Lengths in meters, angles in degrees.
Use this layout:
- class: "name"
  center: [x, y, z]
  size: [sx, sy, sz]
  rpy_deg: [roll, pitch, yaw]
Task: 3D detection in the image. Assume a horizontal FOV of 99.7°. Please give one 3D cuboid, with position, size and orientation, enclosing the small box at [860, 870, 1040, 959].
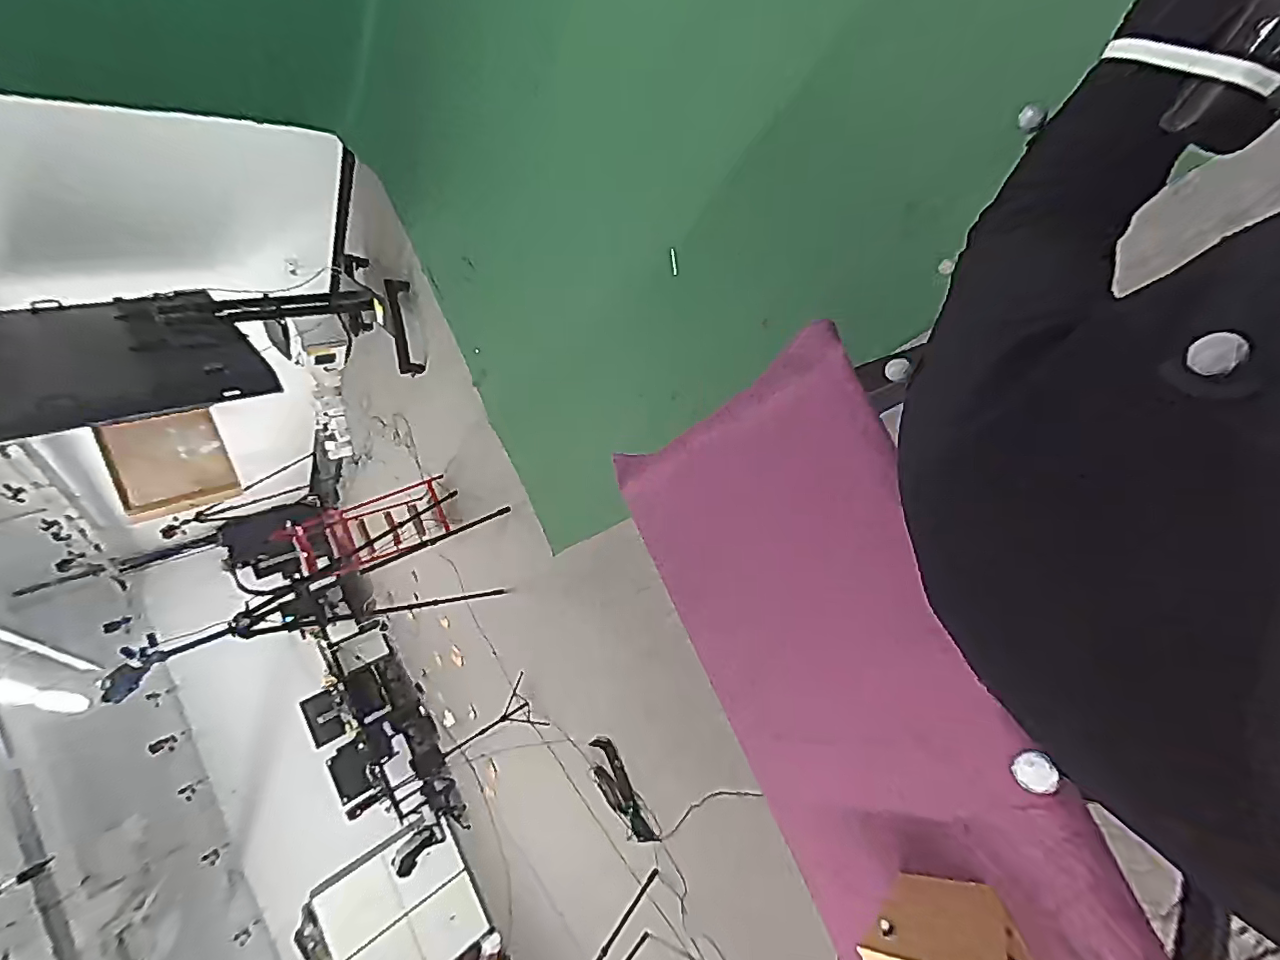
- class: "small box"
  center: [0.500, 0.766, 0.863]
  size: [0.168, 0.176, 0.179]
  rpy_deg: [60, 141, 11]
